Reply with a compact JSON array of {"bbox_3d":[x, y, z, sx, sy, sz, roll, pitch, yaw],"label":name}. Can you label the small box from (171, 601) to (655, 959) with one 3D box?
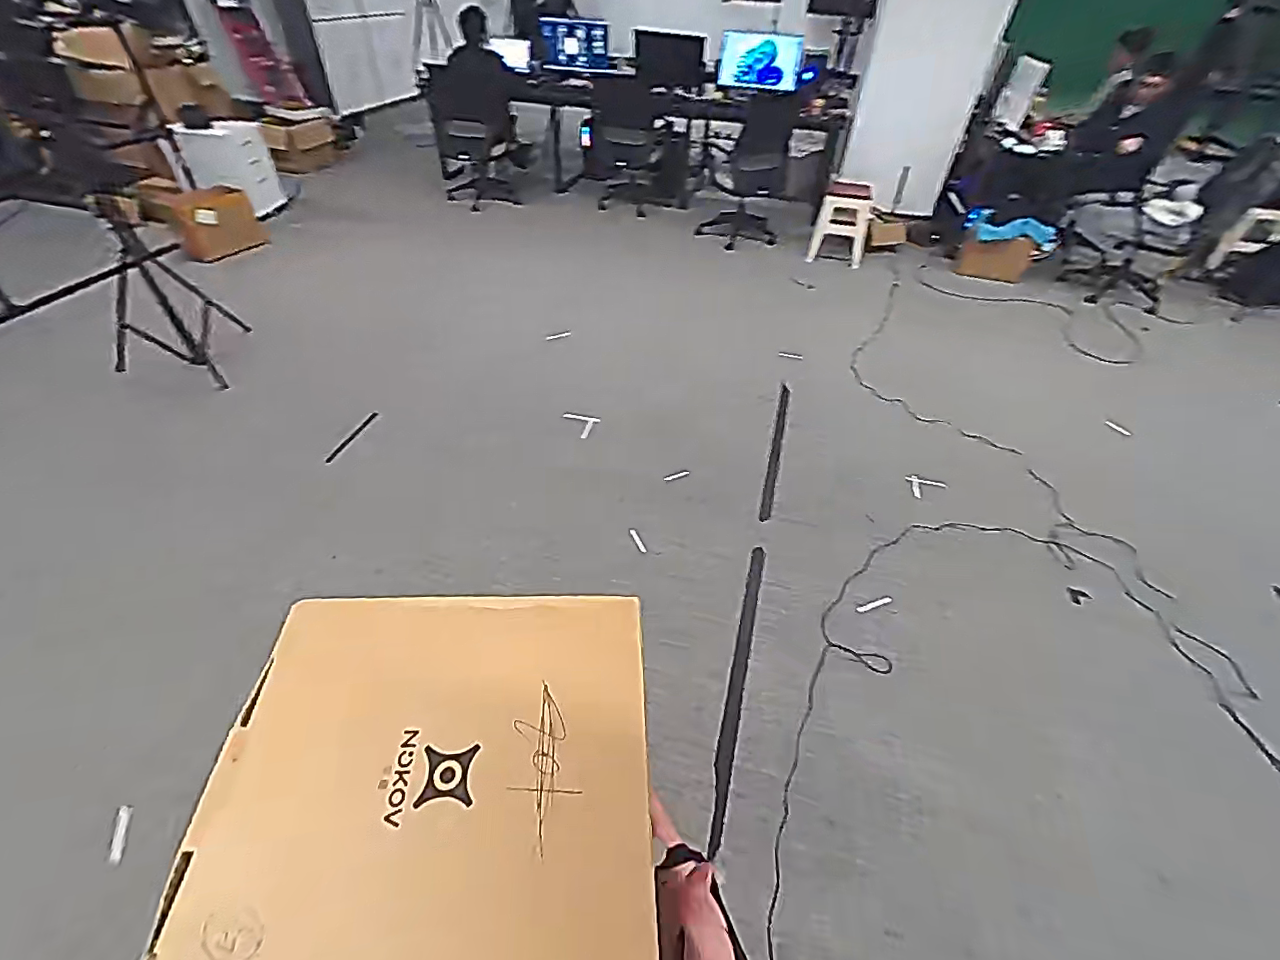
[{"bbox_3d":[-0.088,0.181,0.297,0.179,0.176,0.168,1,49,-5],"label":"small box"}]
